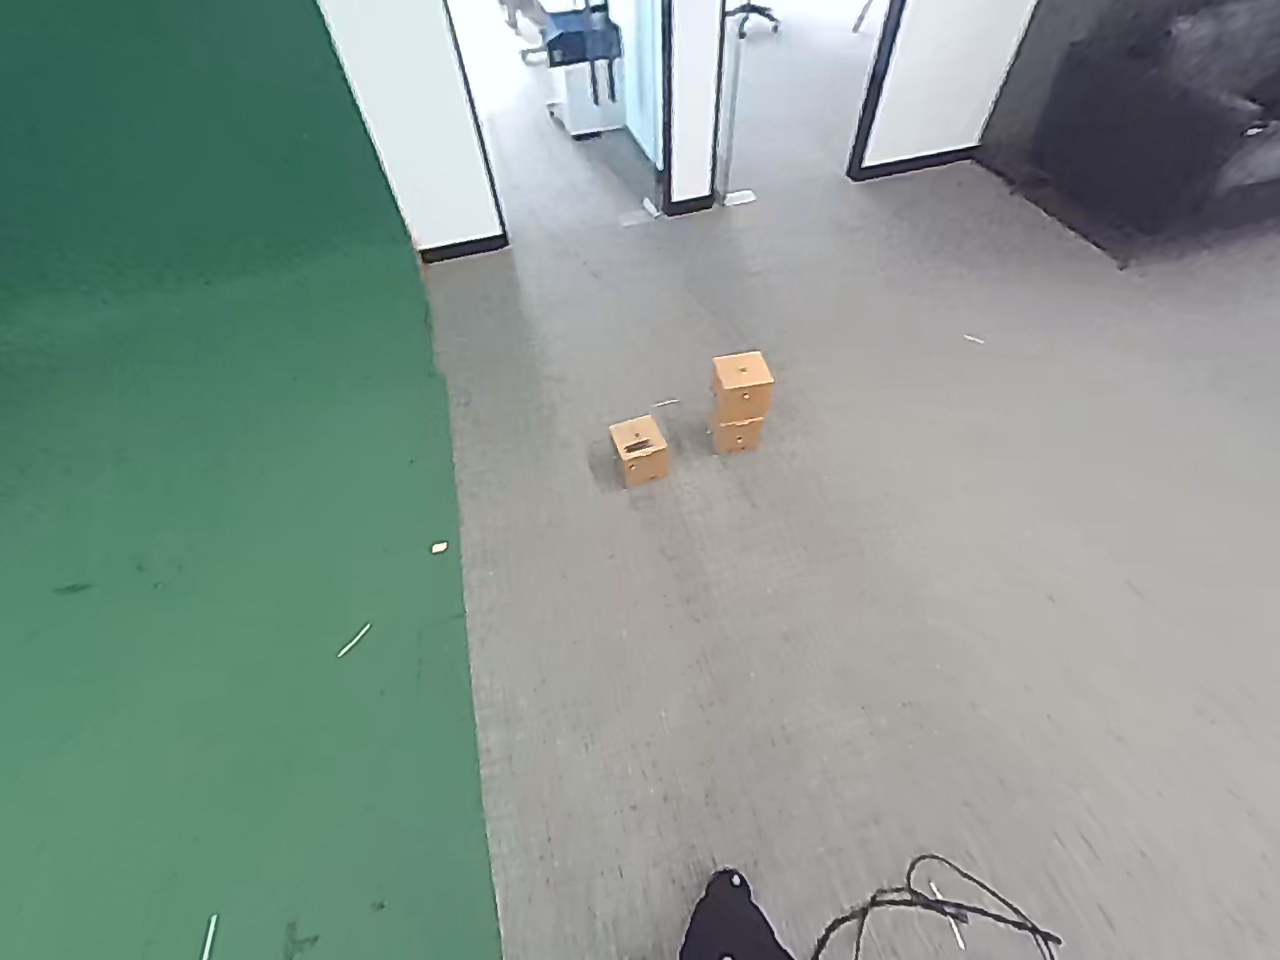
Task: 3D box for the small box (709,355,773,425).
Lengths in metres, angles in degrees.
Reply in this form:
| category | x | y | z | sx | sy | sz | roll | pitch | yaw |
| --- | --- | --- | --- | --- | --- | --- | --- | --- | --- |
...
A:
| category | x | y | z | sx | sy | sz | roll | pitch | yaw |
| --- | --- | --- | --- | --- | --- | --- | --- | --- | --- |
| small box | 0.353 | -0.318 | 1.922 | 0.179 | 0.176 | 0.168 | -10 | 53 | -4 |

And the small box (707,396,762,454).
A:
| category | x | y | z | sx | sy | sz | roll | pitch | yaw |
| --- | --- | --- | --- | --- | --- | --- | --- | --- | --- |
| small box | 0.352 | -0.211 | 2.046 | 0.168 | 0.176 | 0.179 | -8 | 54 | -4 |
